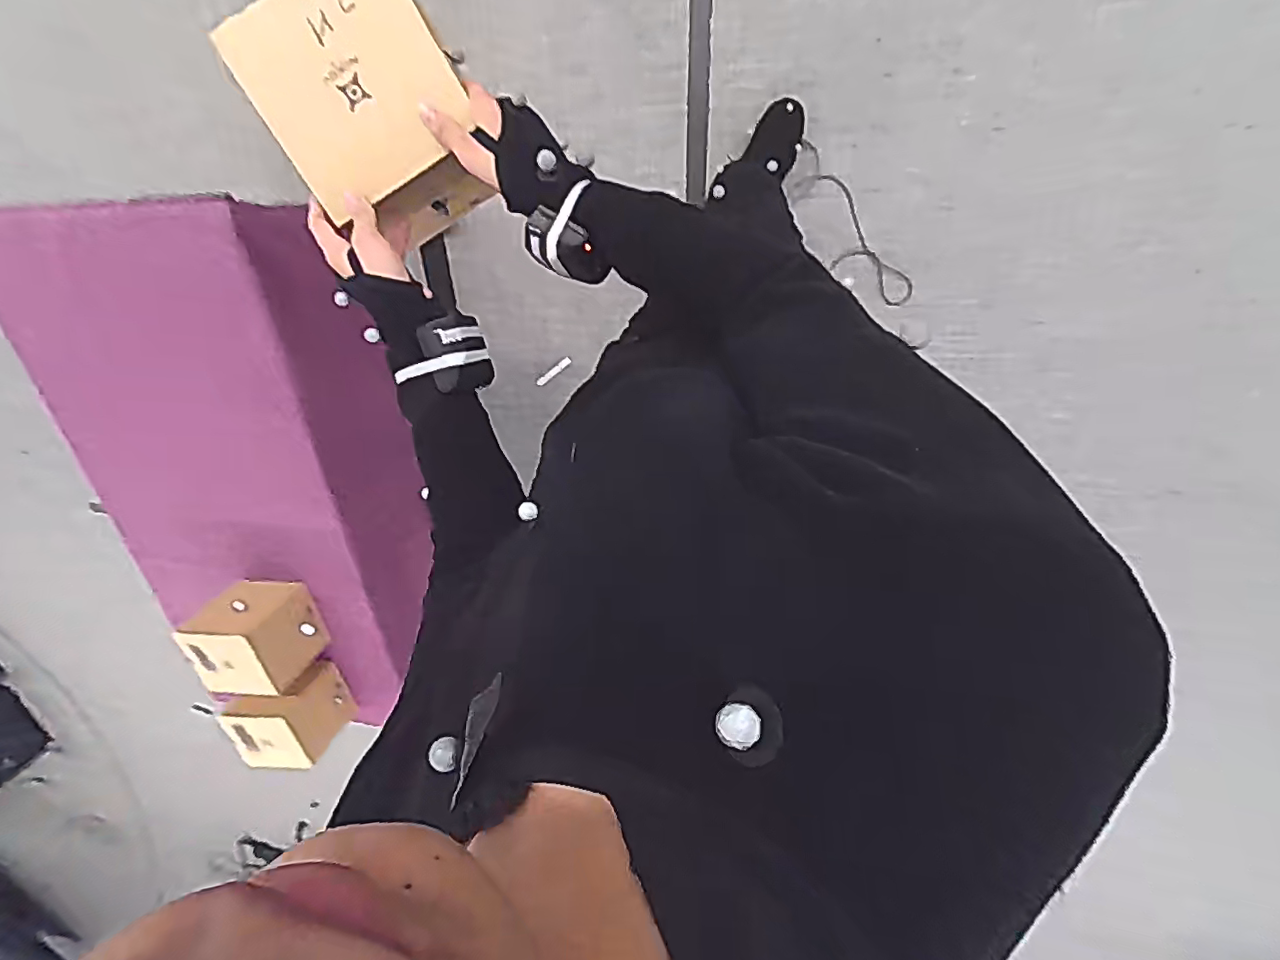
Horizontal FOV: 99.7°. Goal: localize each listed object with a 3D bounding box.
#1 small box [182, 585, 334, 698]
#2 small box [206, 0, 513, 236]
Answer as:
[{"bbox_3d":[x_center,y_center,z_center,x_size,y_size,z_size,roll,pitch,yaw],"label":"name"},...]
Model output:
[{"bbox_3d":[-0.815,0.342,1.171,0.179,0.176,0.168,-1,118,12],"label":"small box"},{"bbox_3d":[-0.247,-0.363,0.532,0.168,0.176,0.179,-29,104,6],"label":"small box"}]
